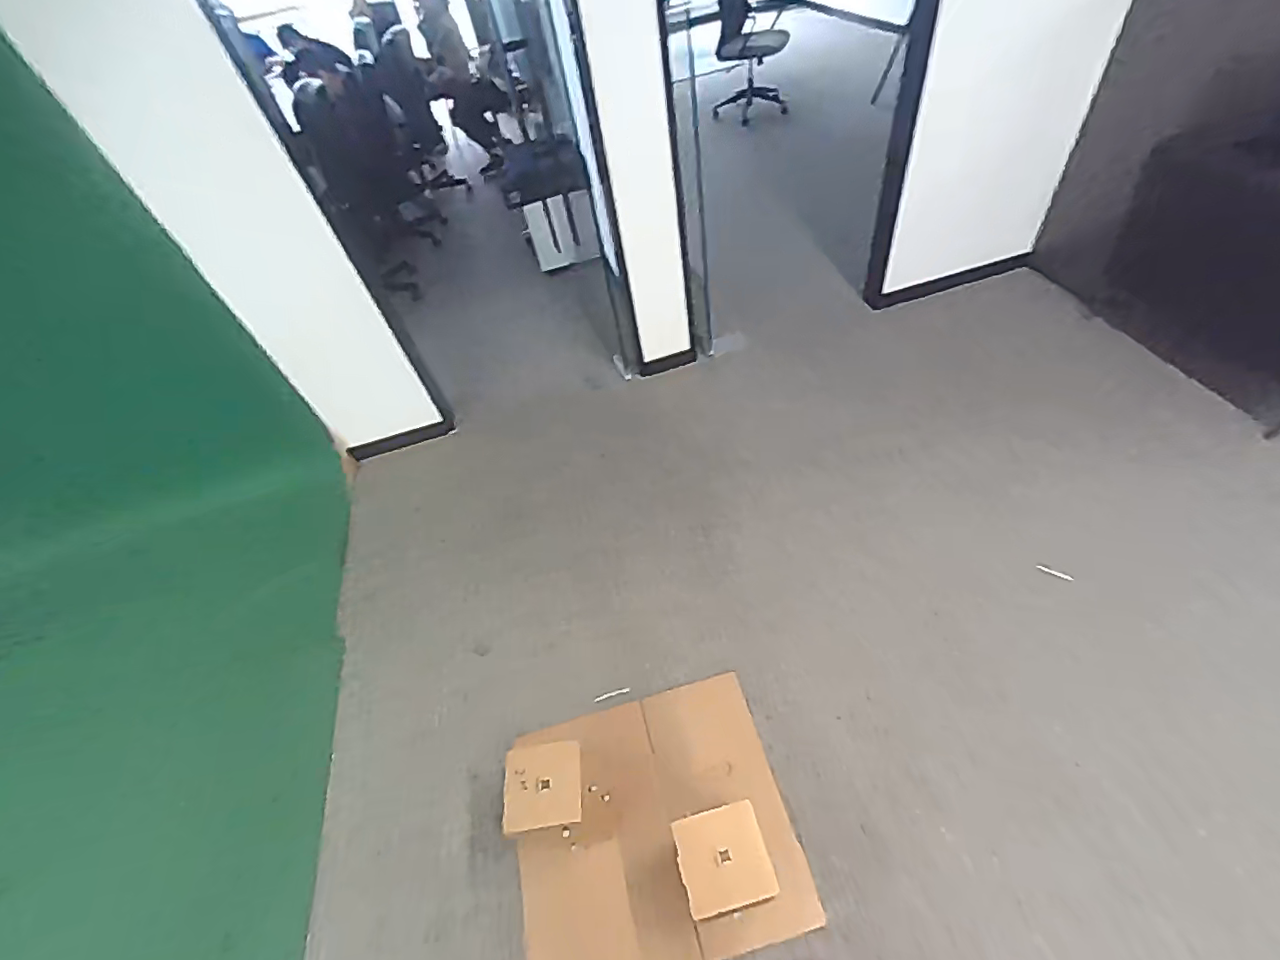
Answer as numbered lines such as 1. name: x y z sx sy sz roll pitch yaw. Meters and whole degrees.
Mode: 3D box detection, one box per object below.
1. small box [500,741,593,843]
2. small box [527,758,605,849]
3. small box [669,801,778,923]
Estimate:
1. small box: -0.206 0.723 1.248 0.179 0.176 0.168 -10 48 3
2. small box: -0.186 0.826 1.376 0.179 0.176 0.168 -10 48 2
3. small box: 0.171 0.793 1.123 0.179 0.176 0.168 -17 50 -2
